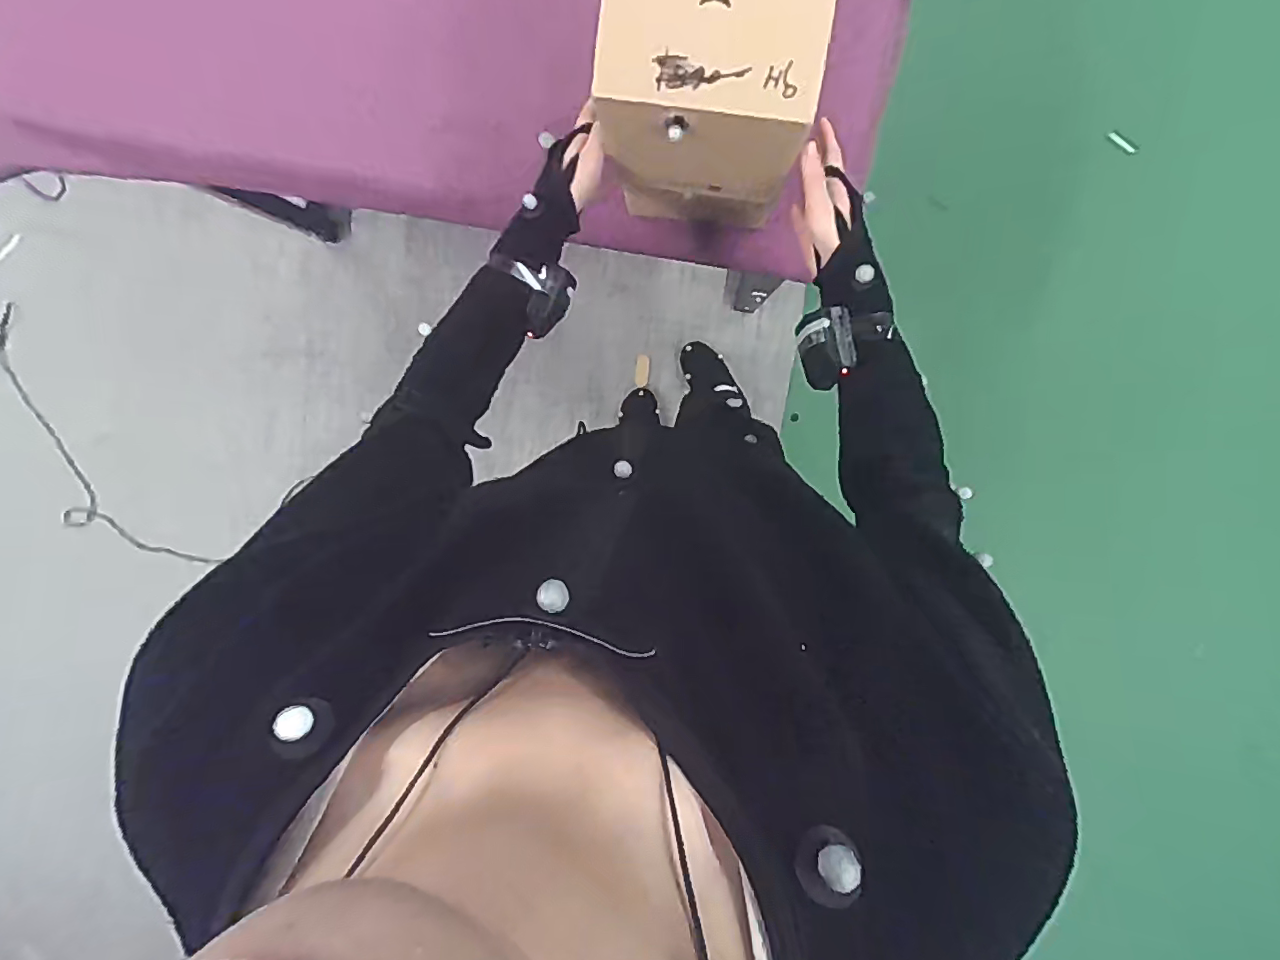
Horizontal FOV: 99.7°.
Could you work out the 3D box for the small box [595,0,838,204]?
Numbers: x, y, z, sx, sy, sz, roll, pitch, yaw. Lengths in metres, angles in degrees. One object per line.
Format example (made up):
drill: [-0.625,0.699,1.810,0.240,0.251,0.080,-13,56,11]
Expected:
small box: [0.064,-0.366,0.461,0.168,0.176,0.179,9,99,2]

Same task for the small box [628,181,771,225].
small box: [0.078,-0.408,0.620,0.179,0.176,0.168,8,100,2]
